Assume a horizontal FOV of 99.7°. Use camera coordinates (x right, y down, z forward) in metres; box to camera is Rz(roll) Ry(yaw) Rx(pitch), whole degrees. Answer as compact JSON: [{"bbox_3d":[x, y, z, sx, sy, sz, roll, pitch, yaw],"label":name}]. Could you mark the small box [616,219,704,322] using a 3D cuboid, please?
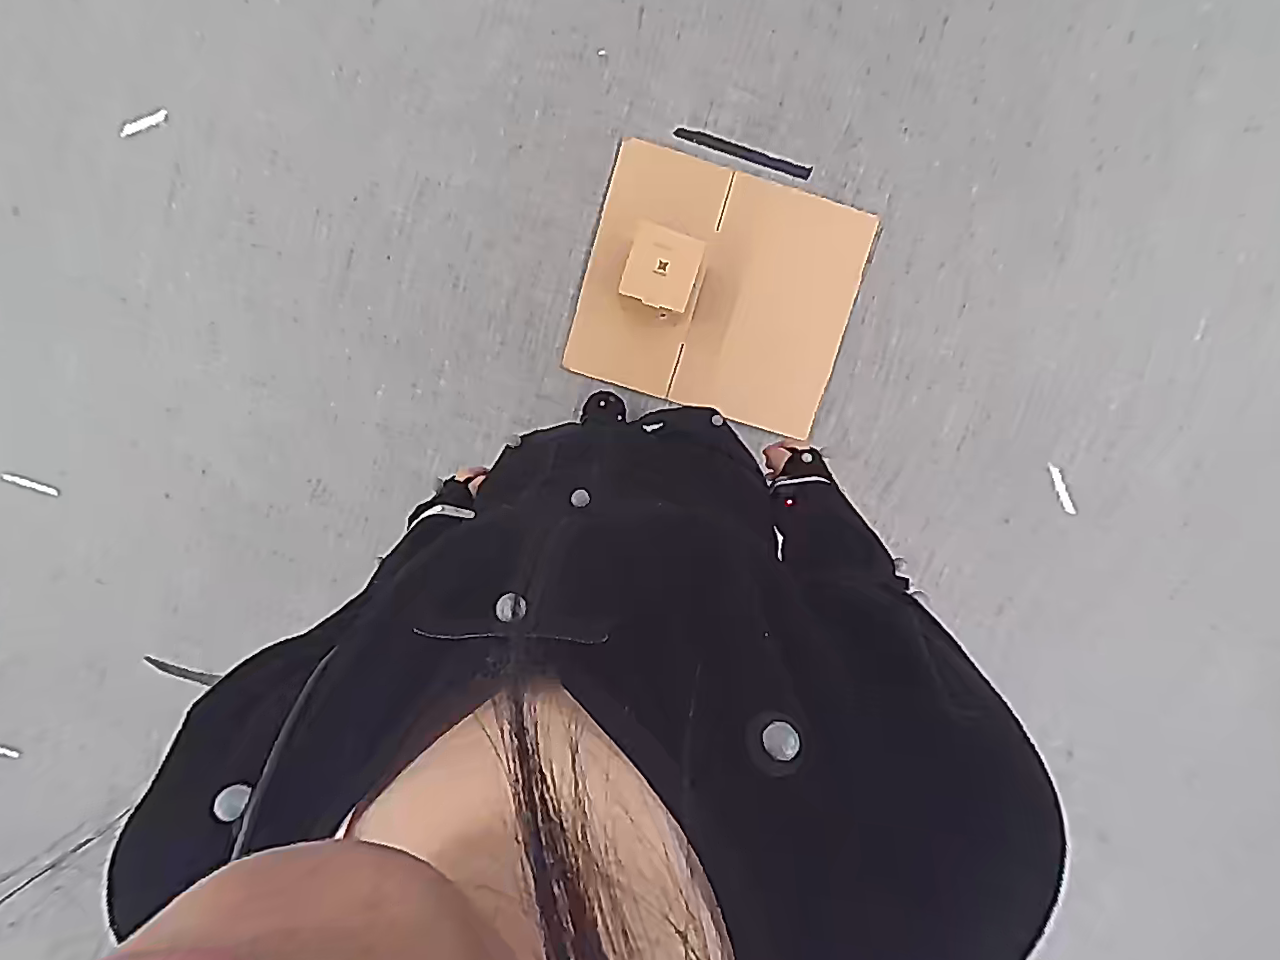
[{"bbox_3d":[0.045,-0.505,1.334,0.168,0.176,0.179,17,96,-4],"label":"small box"}]
